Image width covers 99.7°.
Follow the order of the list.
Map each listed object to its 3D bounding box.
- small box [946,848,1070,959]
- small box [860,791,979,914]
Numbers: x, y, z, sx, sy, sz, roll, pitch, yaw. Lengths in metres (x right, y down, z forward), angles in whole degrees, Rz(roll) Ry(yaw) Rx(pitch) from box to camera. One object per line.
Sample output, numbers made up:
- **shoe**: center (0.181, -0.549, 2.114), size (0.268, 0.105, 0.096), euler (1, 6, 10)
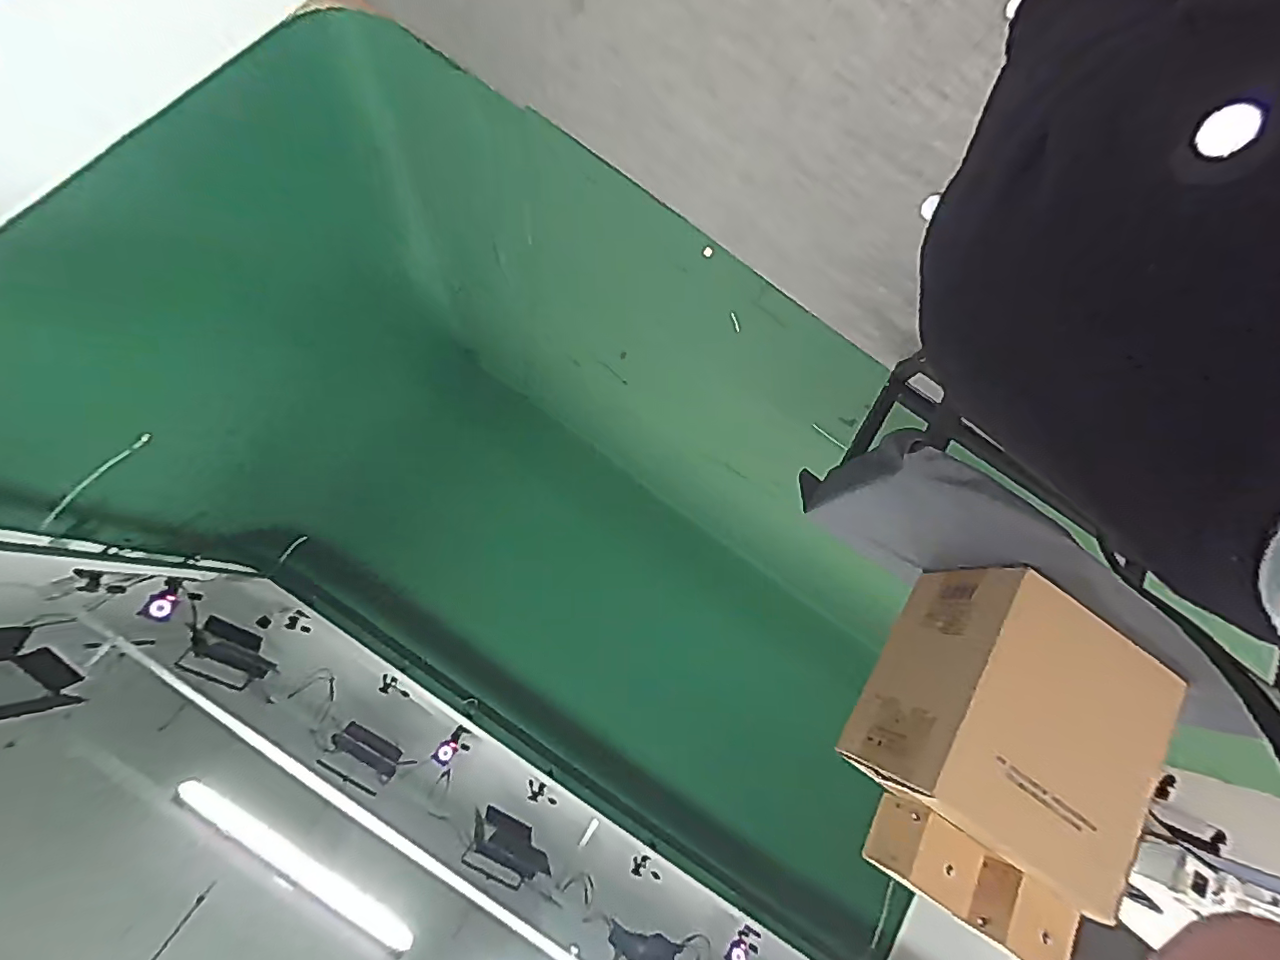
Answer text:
- **small box**: center (0.909, 1.055, 1.334), size (0.179, 0.176, 0.168), euler (36, 159, -3)
- **small box**: center (0.695, 0.912, 1.345), size (0.179, 0.176, 0.168), euler (35, 158, -4)
